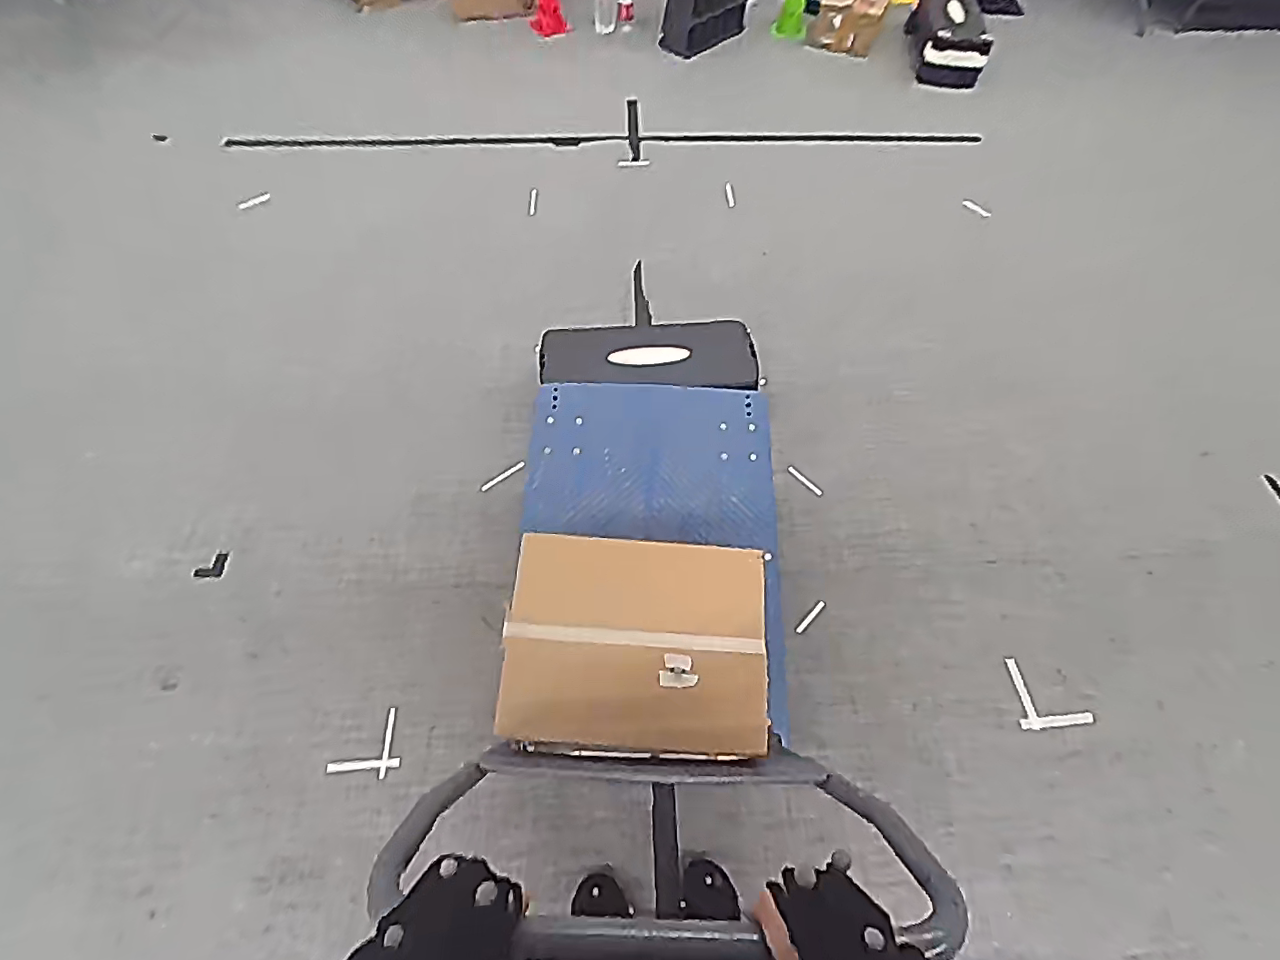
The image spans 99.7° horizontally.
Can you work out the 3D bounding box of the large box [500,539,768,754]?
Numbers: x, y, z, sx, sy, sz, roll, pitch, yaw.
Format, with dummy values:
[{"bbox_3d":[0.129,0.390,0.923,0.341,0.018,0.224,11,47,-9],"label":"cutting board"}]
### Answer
[{"bbox_3d":[-0.010,0.307,0.985,0.408,0.320,0.320,4,69,-1],"label":"large box"}]
